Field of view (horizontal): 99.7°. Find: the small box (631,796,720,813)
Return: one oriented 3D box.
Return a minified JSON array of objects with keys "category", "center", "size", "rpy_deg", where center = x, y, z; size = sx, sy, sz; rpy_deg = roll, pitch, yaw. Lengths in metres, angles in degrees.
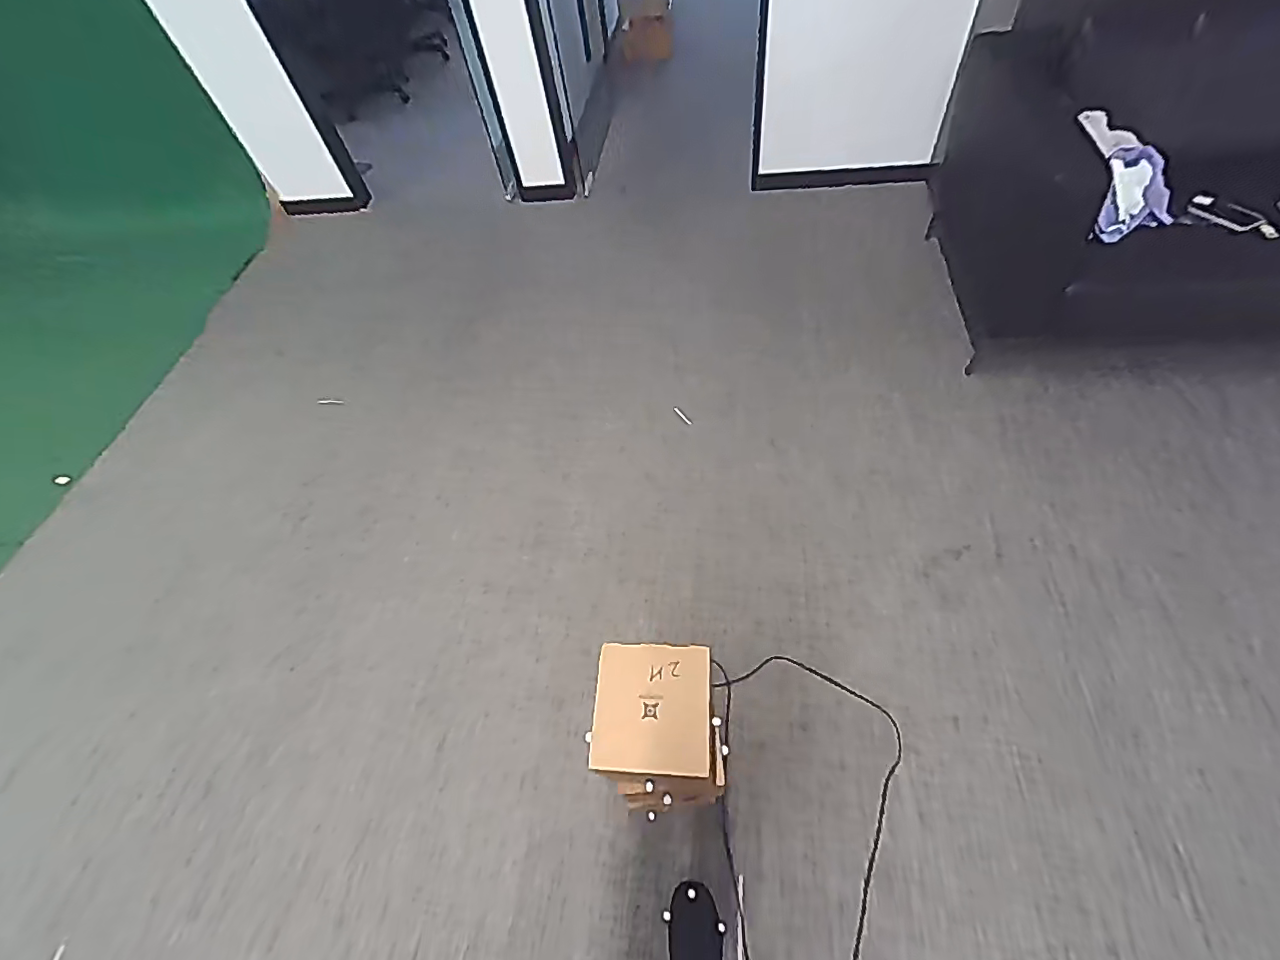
[{"category":"small box","center":[0.067,0.567,1.100],"size":[0.168,0.176,0.179],"rpy_deg":[-10,54,2]}]

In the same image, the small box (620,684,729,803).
[{"category":"small box","center":[0.060,0.473,0.966],"size":[0.179,0.176,0.168],"rpy_deg":[-8,55,5]}]

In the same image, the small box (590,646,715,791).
[{"category":"small box","center":[0.030,0.373,0.839],"size":[0.168,0.176,0.179],"rpy_deg":[0,56,9]}]
